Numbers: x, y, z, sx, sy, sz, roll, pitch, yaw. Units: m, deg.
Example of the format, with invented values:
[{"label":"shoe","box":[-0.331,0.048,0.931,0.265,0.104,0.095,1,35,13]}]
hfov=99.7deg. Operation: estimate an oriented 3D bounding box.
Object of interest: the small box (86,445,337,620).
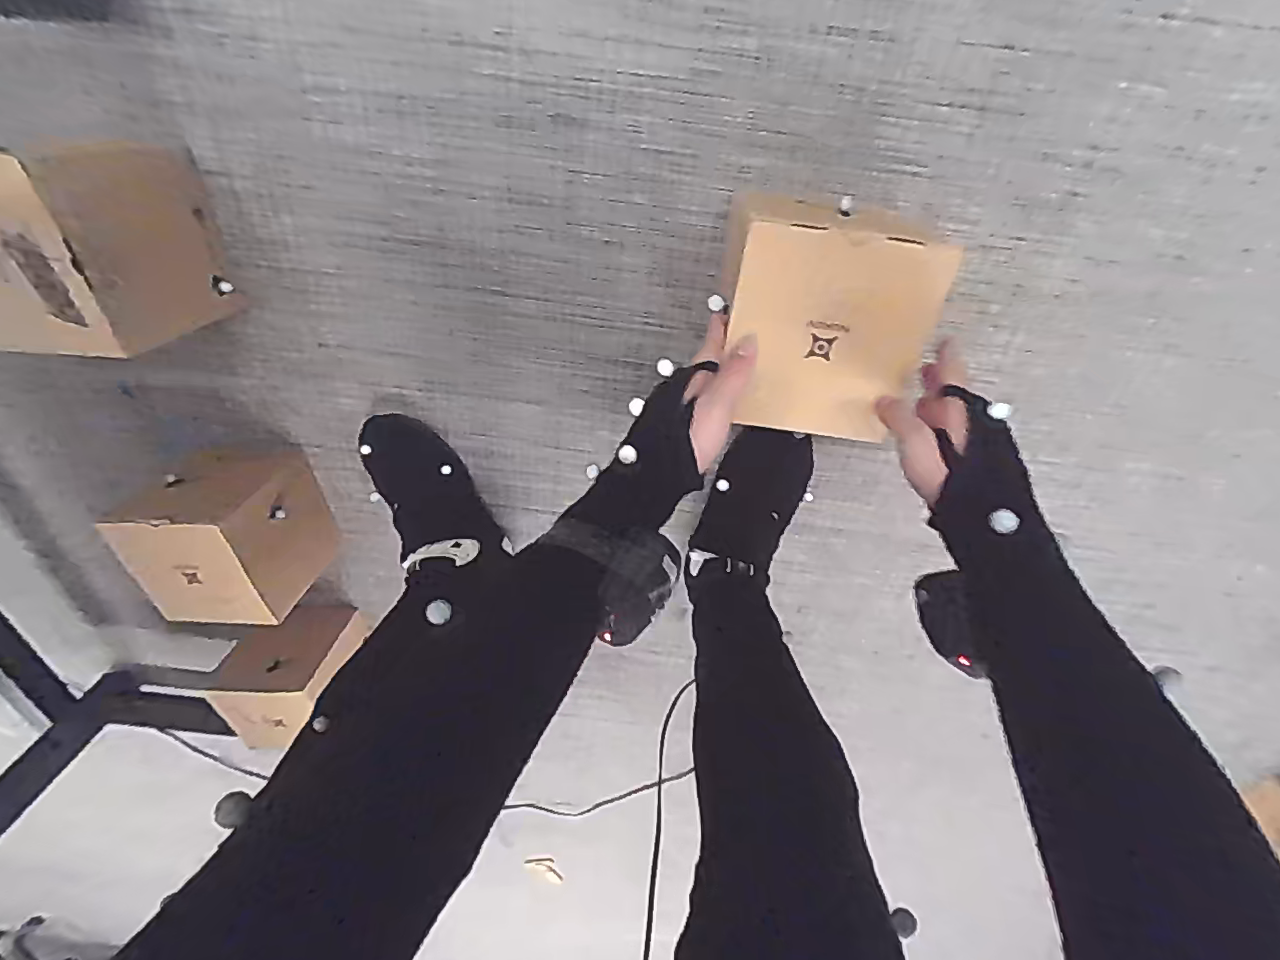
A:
[{"label":"small box","box":[-0.553,0.064,0.730,0.168,0.176,0.179,1,125,5]}]

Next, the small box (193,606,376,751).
[{"label":"small box","box":[-0.572,0.328,0.907,0.179,0.176,0.168,-1,124,5]}]

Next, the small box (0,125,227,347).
[{"label":"small box","box":[-0.551,-0.241,0.523,0.179,0.176,0.168,4,124,3]}]

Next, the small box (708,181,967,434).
[{"label":"small box","box":[0.161,-0.169,0.516,0.168,0.176,0.179,8,124,-1]}]
